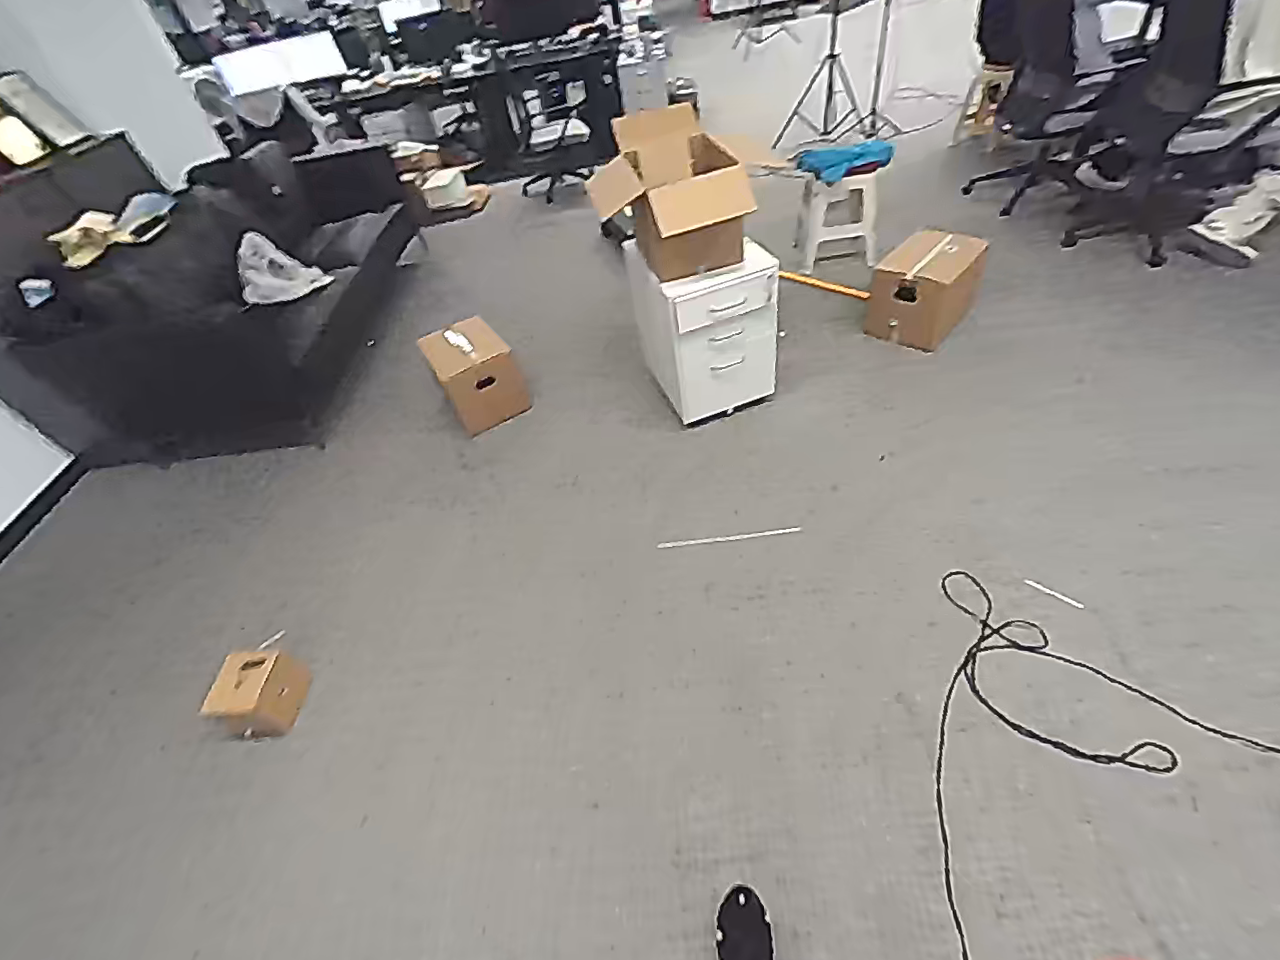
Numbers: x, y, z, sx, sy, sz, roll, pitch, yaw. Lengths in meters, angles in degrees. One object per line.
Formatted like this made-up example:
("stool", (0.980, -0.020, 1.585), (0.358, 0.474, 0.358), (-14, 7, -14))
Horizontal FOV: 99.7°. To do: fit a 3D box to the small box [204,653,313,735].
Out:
("small box", (-1.106, 0.630, 1.589), (0.168, 0.176, 0.179), (-6, 47, 6))
